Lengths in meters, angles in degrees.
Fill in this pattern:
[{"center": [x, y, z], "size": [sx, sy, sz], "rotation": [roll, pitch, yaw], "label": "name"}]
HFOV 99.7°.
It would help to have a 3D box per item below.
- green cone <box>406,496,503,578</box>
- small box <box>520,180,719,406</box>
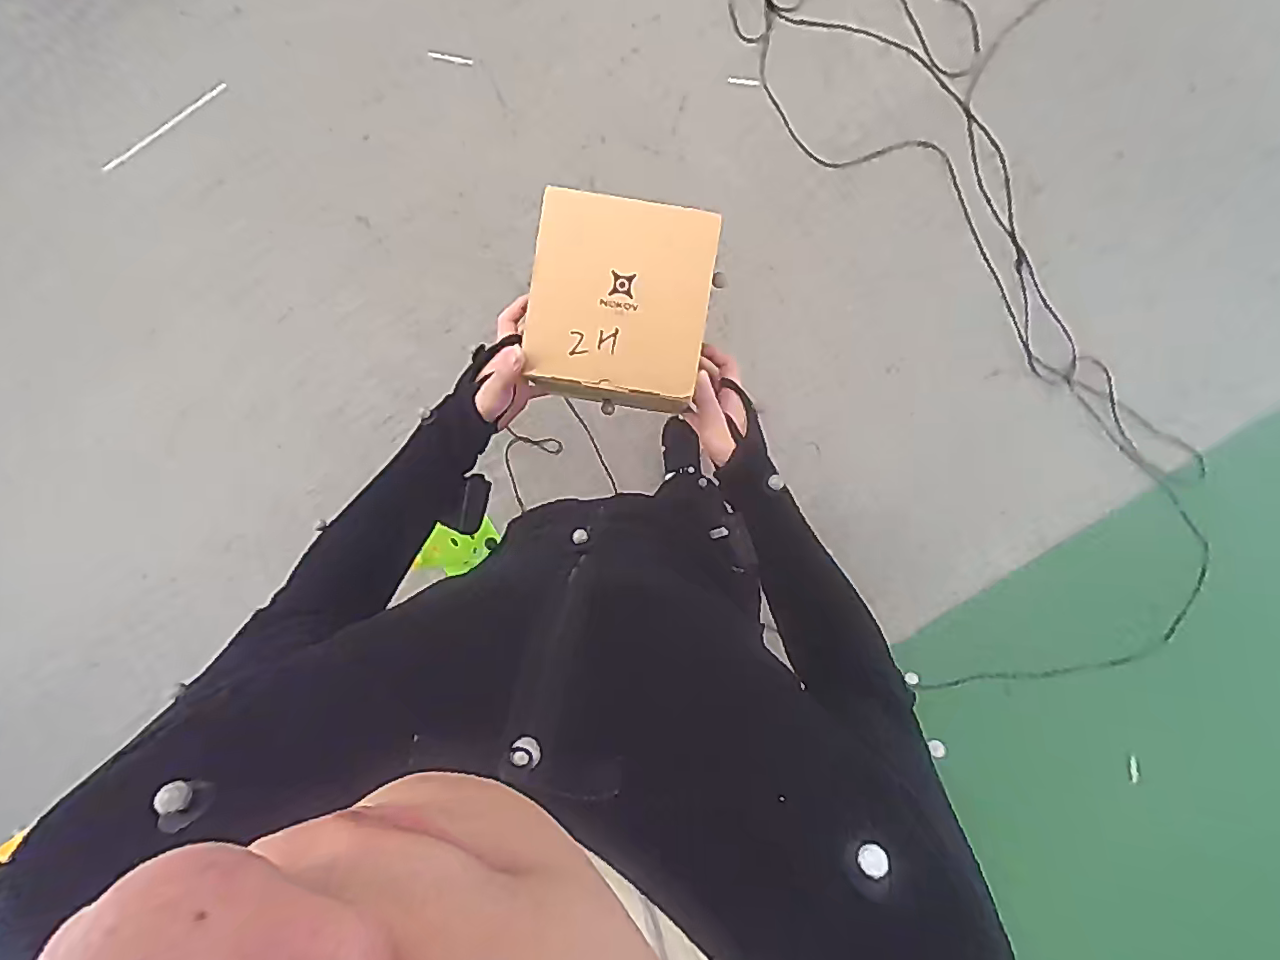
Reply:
[{"center": [-0.545, 0.178, 1.474], "size": [0.202, 0.368, 0.200], "rotation": [-32, 91, 1], "label": "green cone"}, {"center": [-0.021, -0.184, 0.583], "size": [0.168, 0.176, 0.179], "rotation": [9, 93, -1], "label": "small box"}]
